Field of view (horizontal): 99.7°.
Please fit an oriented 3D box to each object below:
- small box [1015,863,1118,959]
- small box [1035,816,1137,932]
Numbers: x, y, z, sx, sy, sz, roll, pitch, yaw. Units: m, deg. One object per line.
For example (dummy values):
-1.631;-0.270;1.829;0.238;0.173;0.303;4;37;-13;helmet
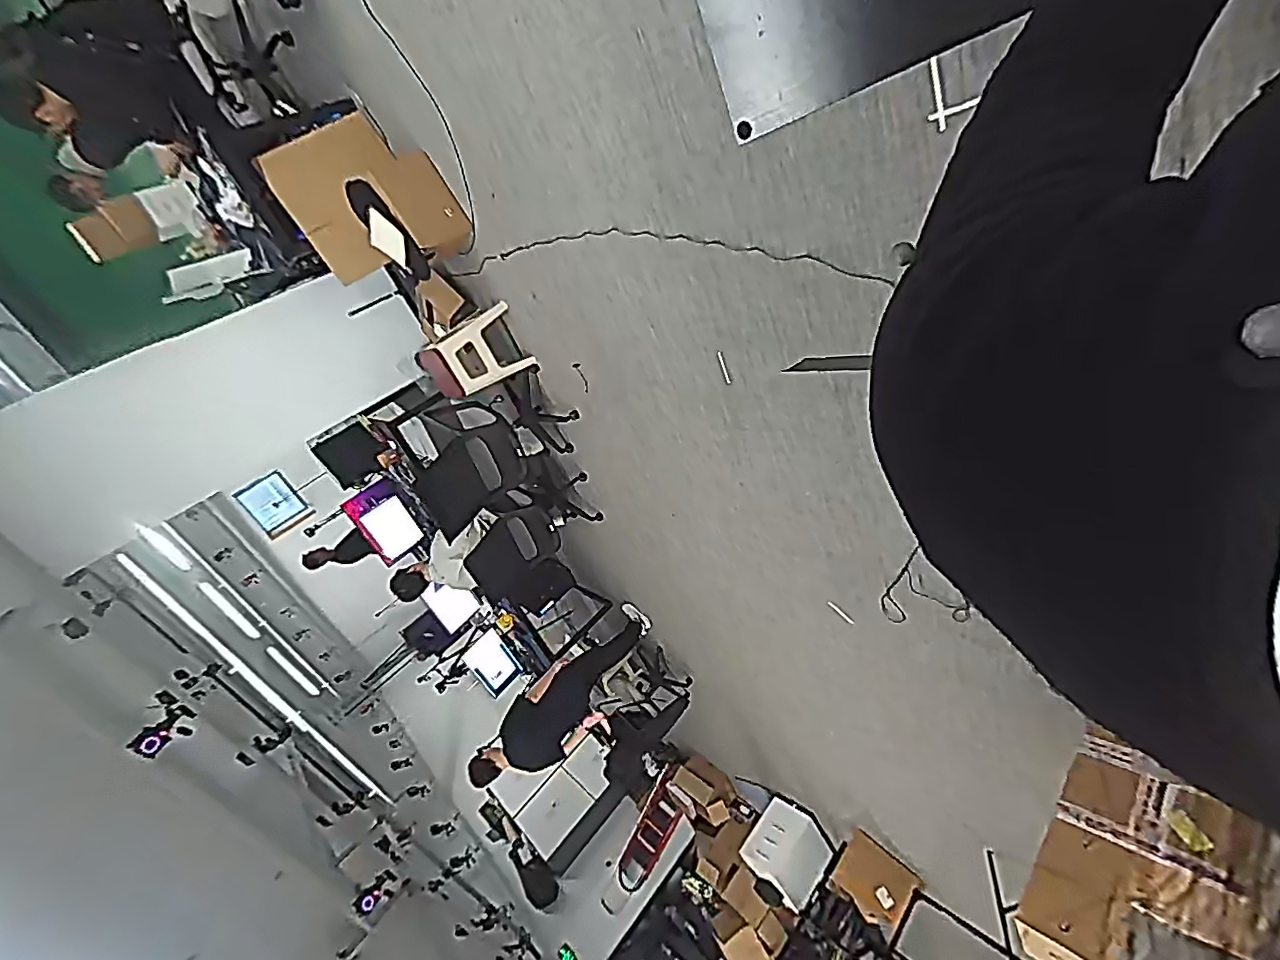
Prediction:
1.150;1.186;1.451;0.179;0.176;0.168;2;123;55;small box
1.267;1.103;1.534;0.179;0.176;0.168;2;123;55;small box
